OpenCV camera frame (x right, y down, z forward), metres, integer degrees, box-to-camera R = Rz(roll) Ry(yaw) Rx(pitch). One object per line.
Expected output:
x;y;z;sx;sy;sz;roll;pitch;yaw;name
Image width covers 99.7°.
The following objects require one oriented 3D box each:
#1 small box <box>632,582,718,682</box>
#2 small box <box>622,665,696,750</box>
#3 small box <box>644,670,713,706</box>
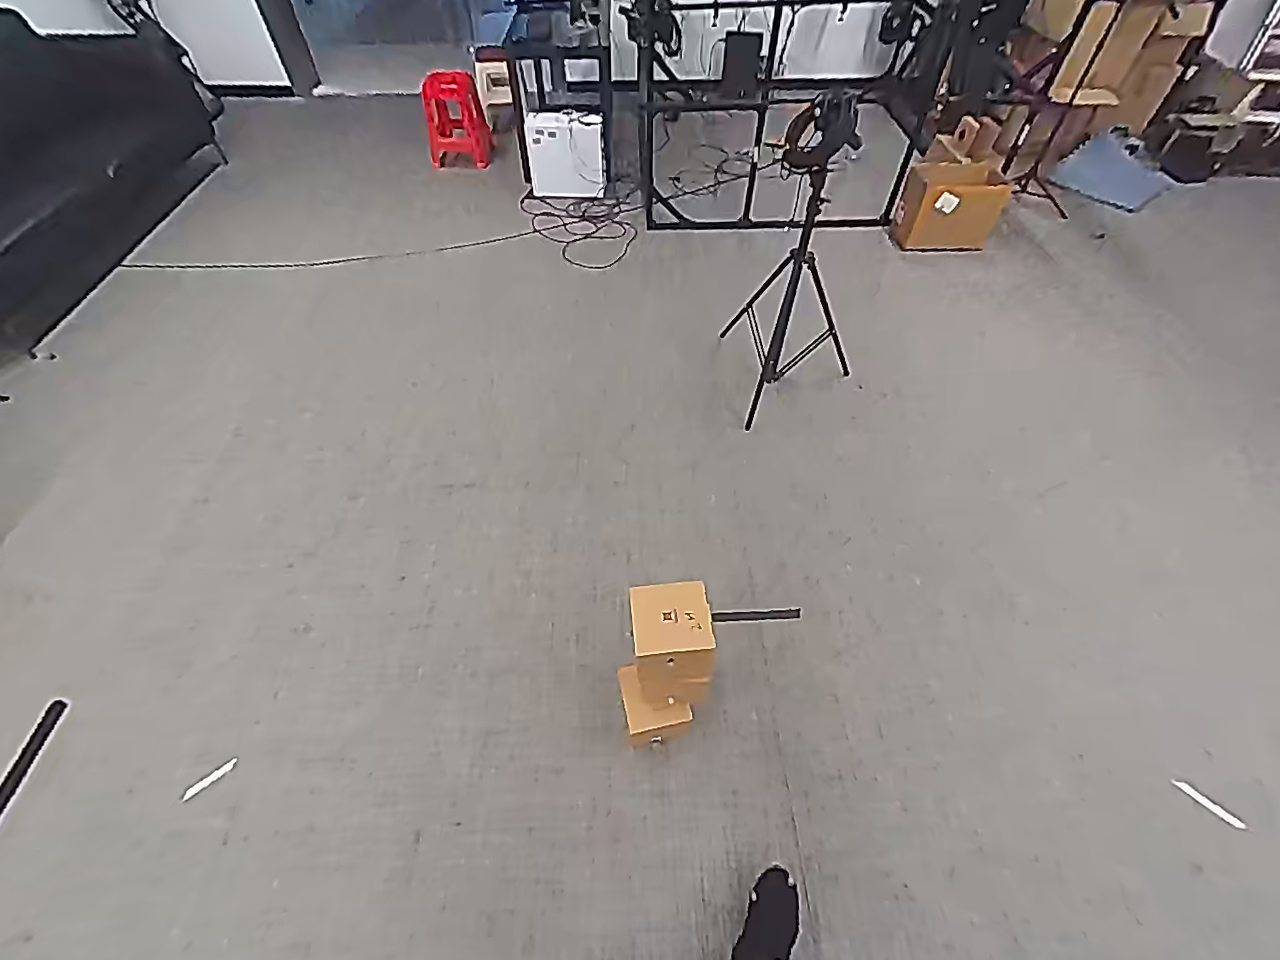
0.077;0.353;1.245;0.179;0.176;0.168;-5;51;-2;small box
0.046;0.605;1.464;0.168;0.176;0.179;-10;52;-7;small box
0.095;0.456;1.374;0.168;0.176;0.179;1;51;3;small box
